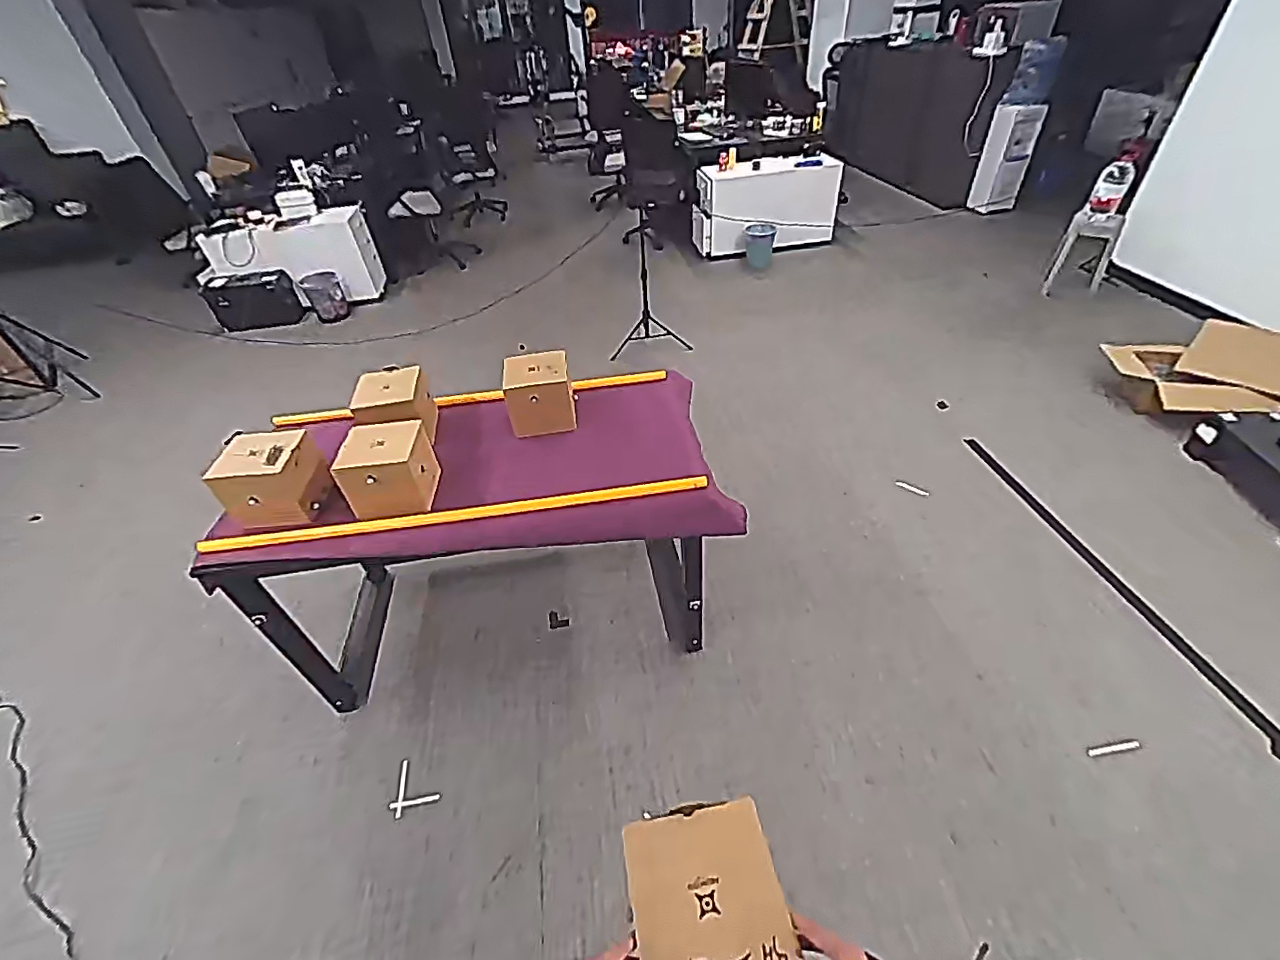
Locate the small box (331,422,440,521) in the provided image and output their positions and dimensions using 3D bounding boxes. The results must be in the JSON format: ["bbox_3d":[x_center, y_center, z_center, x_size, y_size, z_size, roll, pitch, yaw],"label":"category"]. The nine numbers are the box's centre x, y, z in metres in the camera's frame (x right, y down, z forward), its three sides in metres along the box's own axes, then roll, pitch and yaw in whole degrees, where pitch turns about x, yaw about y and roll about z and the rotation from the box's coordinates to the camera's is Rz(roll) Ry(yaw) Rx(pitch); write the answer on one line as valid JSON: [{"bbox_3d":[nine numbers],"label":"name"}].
[{"bbox_3d":[-0.609,-0.020,1.324,0.179,0.176,0.168,-7,42,-2],"label":"small box"}]

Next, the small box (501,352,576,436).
[{"bbox_3d":[-0.284,-0.240,1.536,0.179,0.176,0.168,-8,43,-4],"label":"small box"}]

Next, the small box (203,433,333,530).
[{"bbox_3d":[-0.890,0.005,1.319,0.179,0.176,0.168,-5,42,-1],"label":"small box"}]

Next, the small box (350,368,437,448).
[{"bbox_3d":[-0.683,-0.190,1.520,0.168,0.176,0.179,-10,43,-5],"label":"small box"}]

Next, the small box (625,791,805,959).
[{"bbox_3d":[0.079,0.510,0.639,0.168,0.176,0.179,-10,37,-4],"label":"small box"}]
